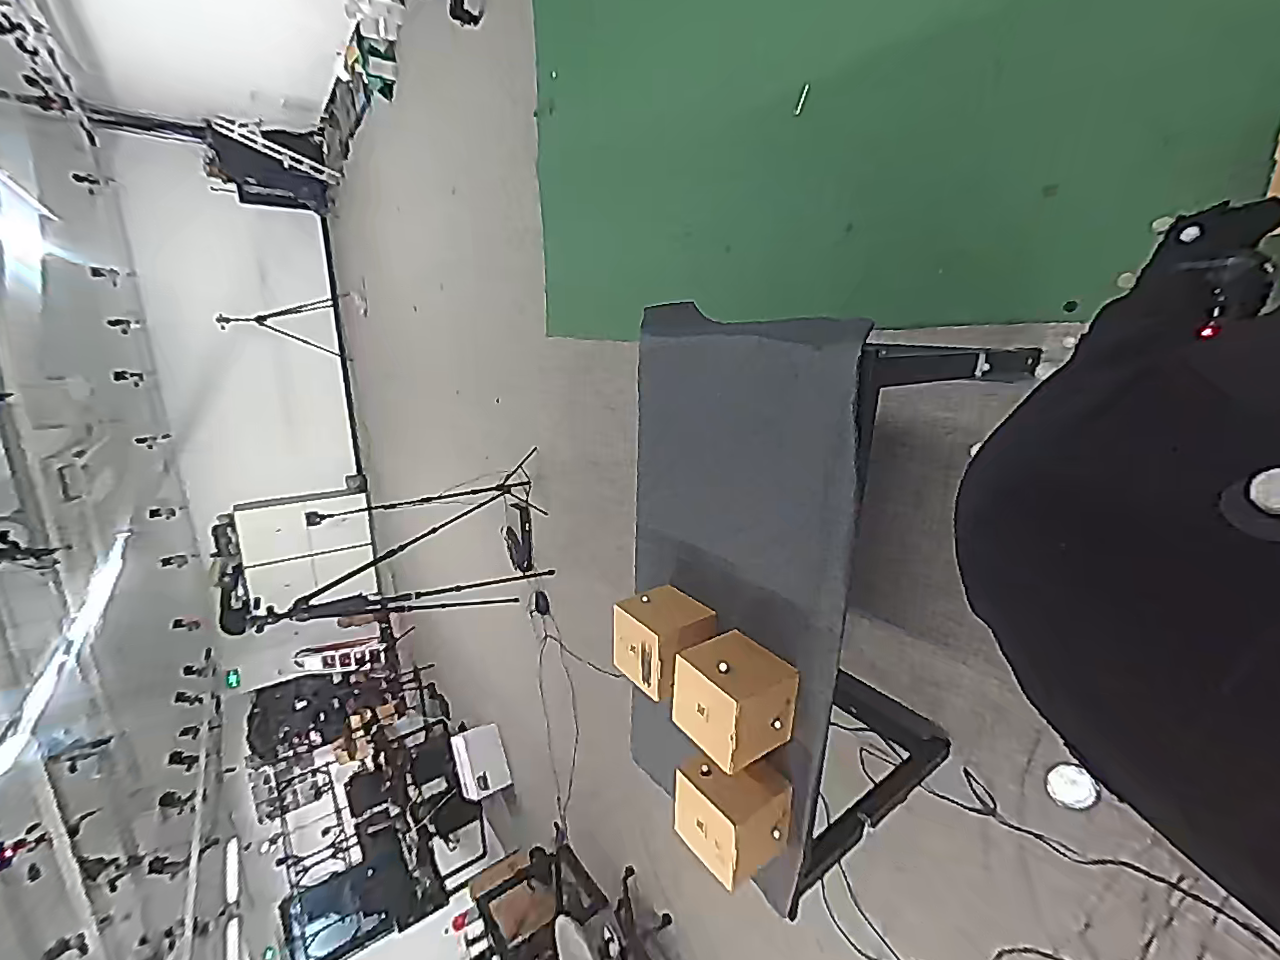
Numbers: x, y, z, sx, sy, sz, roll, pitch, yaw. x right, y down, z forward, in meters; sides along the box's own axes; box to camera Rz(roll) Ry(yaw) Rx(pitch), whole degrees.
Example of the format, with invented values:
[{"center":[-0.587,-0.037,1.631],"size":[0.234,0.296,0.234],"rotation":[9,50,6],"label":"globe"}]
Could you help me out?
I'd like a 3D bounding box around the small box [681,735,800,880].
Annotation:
[{"center":[0.208,0.673,1.140],"size":[0.179,0.176,0.168],"rotation":[20,115,51],"label":"small box"}]
